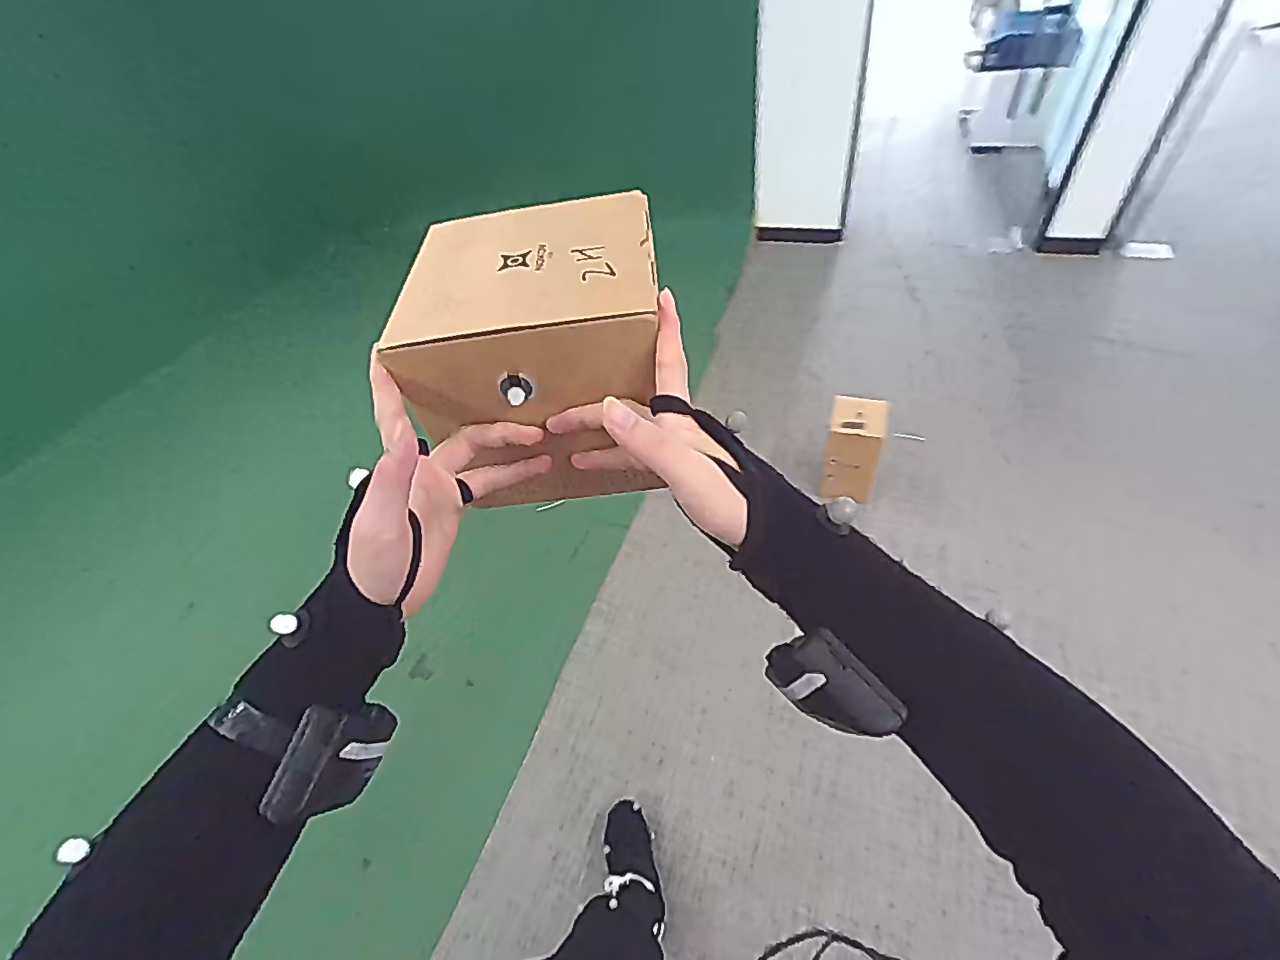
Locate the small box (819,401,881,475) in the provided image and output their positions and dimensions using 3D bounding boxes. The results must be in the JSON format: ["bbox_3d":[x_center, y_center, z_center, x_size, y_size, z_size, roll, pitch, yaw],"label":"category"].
[{"bbox_3d":[0.696,-0.137,1.799,0.168,0.176,0.179,10,51,18],"label":"small box"}]

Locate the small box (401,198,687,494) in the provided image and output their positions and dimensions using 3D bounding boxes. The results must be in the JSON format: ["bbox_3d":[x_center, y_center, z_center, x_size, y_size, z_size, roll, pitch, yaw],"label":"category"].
[{"bbox_3d":[-0.058,-0.103,0.445,0.179,0.176,0.168,-5,50,4],"label":"small box"}]
